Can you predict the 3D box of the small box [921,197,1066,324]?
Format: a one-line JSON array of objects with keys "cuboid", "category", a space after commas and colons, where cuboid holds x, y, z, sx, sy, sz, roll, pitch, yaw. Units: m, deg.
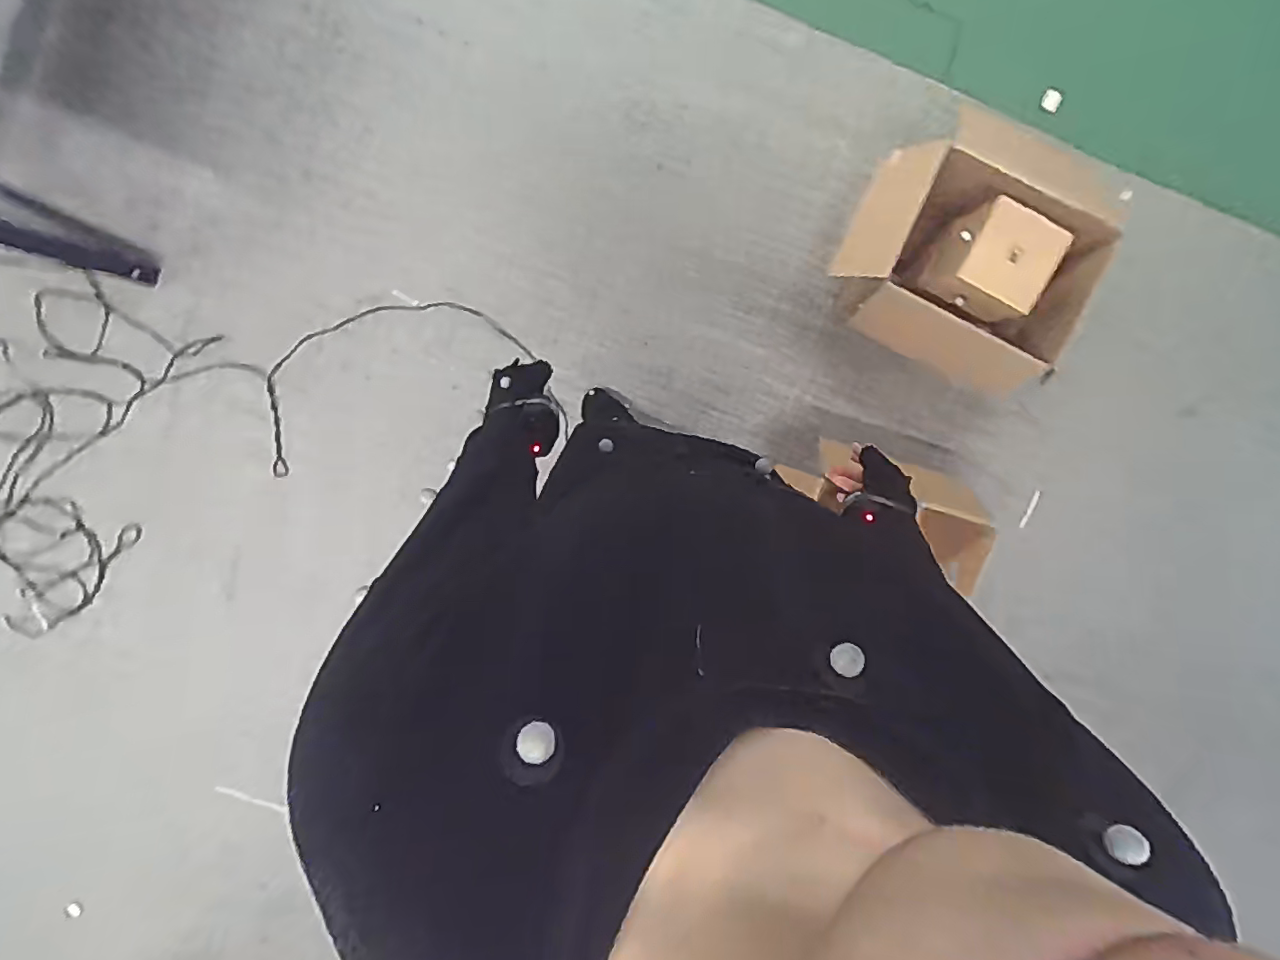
[{"cuboid": [0.741, -0.457, 1.160, 0.168, 0.176, 0.179, 27, 96, -3], "category": "small box"}]
